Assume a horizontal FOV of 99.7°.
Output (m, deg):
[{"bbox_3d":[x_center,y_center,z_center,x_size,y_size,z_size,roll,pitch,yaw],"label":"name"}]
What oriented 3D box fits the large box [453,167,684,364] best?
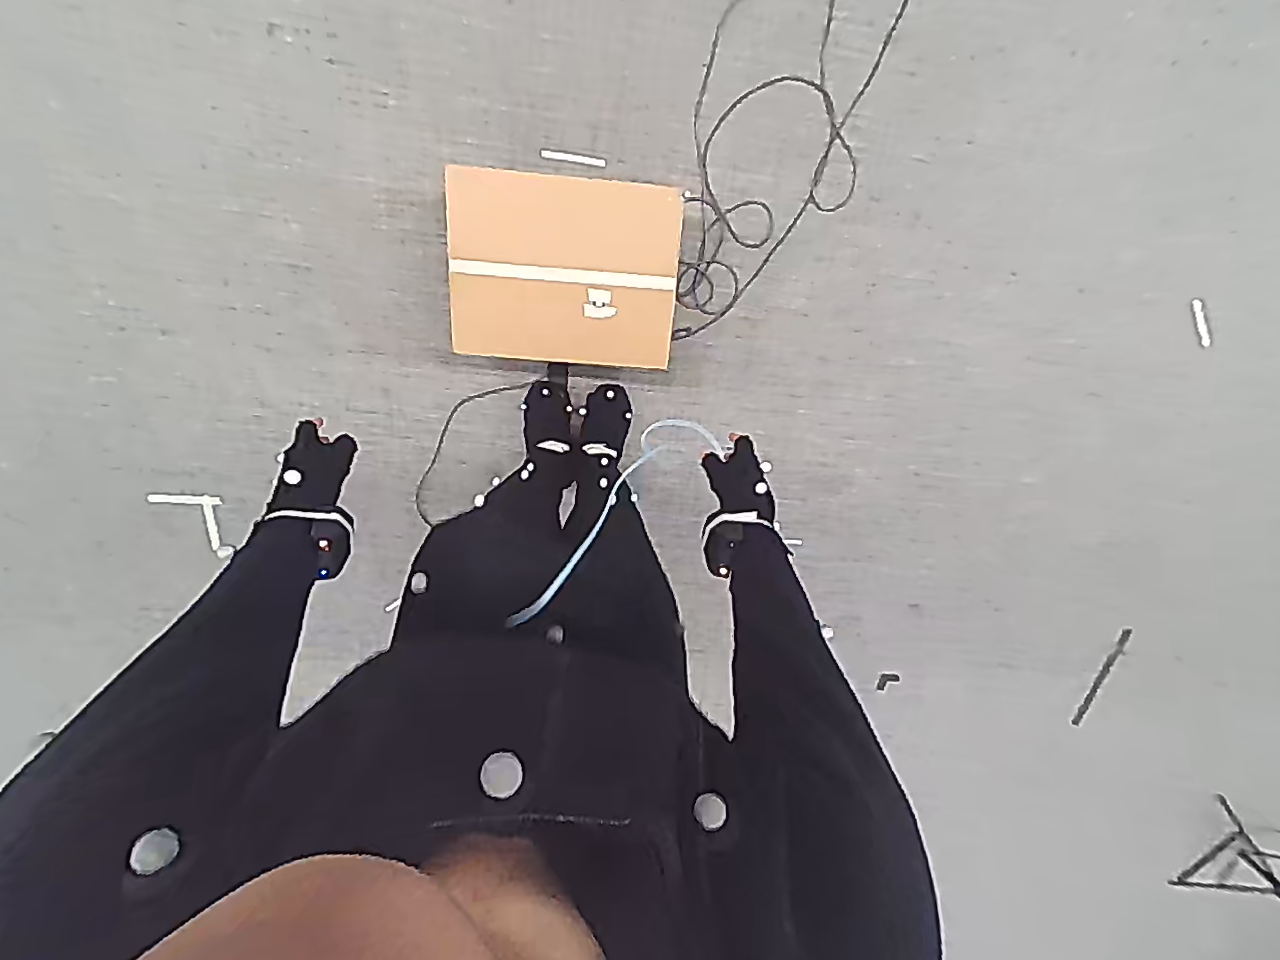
[{"bbox_3d":[-0.141,-0.429,1.117,0.408,0.320,0.320,3,112,-5],"label":"large box"}]
